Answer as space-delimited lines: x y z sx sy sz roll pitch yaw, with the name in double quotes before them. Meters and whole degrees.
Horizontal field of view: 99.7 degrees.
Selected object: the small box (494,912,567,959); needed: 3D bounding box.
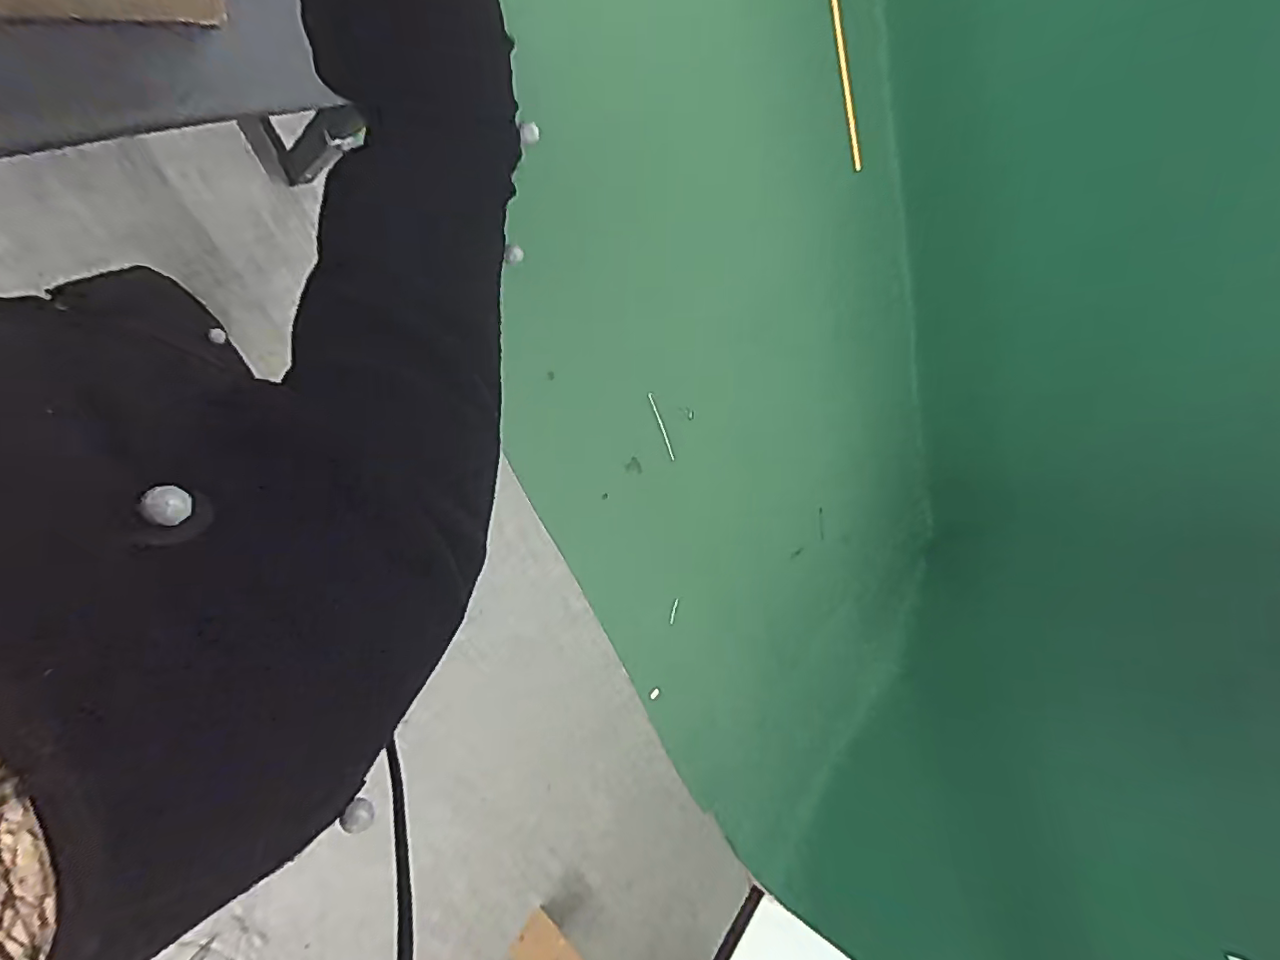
"small box" -0.408 1.761 2.004 0.168 0.176 0.179 -40 123 -32
